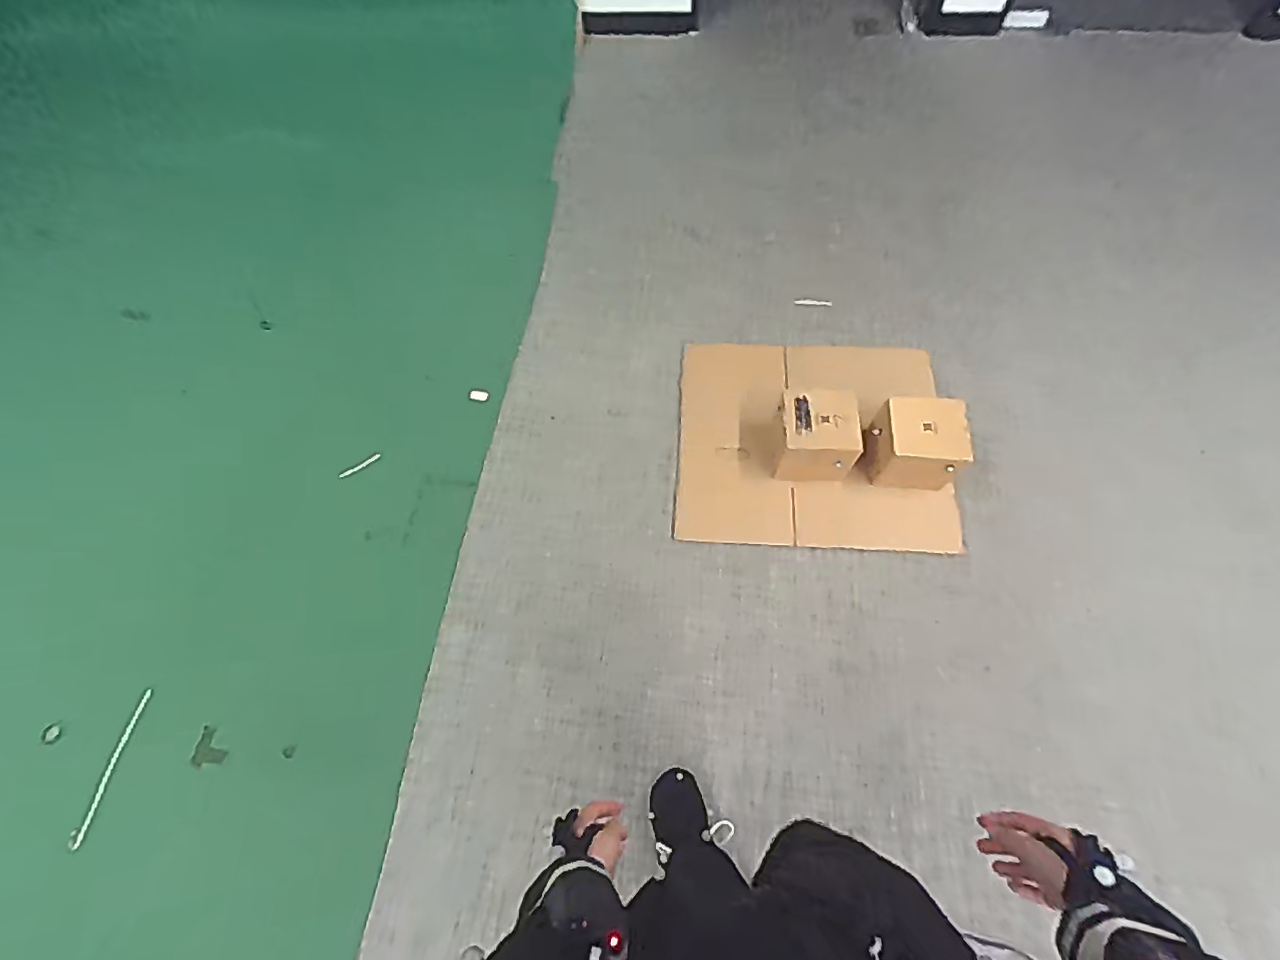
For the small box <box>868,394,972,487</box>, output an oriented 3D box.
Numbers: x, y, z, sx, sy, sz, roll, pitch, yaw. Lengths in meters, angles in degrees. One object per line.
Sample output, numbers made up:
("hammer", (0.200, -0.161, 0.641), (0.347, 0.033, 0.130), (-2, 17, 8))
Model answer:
("small box", (0.672, -0.093, 1.323), (0.179, 0.176, 0.168), (4, 66, 4))
